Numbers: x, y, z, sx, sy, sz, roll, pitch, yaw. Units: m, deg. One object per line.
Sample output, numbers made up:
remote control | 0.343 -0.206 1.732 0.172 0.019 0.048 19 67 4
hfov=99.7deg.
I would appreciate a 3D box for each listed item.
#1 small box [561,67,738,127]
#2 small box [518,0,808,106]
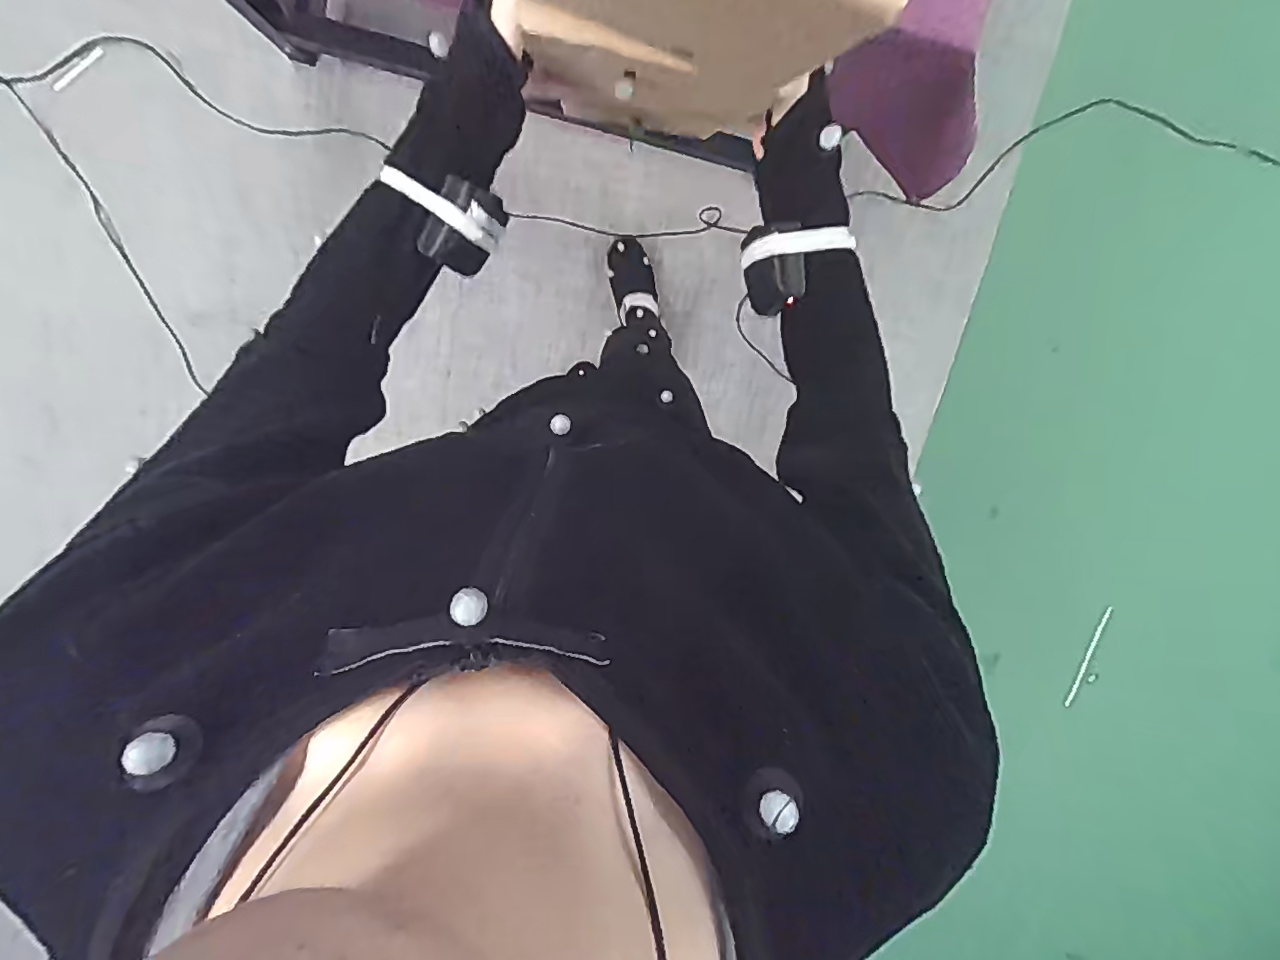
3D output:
small box | 0.013 -0.452 0.499 0.168 0.176 0.179 6 116 -6
small box | 0.019 -0.368 0.355 0.179 0.176 0.168 9 117 -8
